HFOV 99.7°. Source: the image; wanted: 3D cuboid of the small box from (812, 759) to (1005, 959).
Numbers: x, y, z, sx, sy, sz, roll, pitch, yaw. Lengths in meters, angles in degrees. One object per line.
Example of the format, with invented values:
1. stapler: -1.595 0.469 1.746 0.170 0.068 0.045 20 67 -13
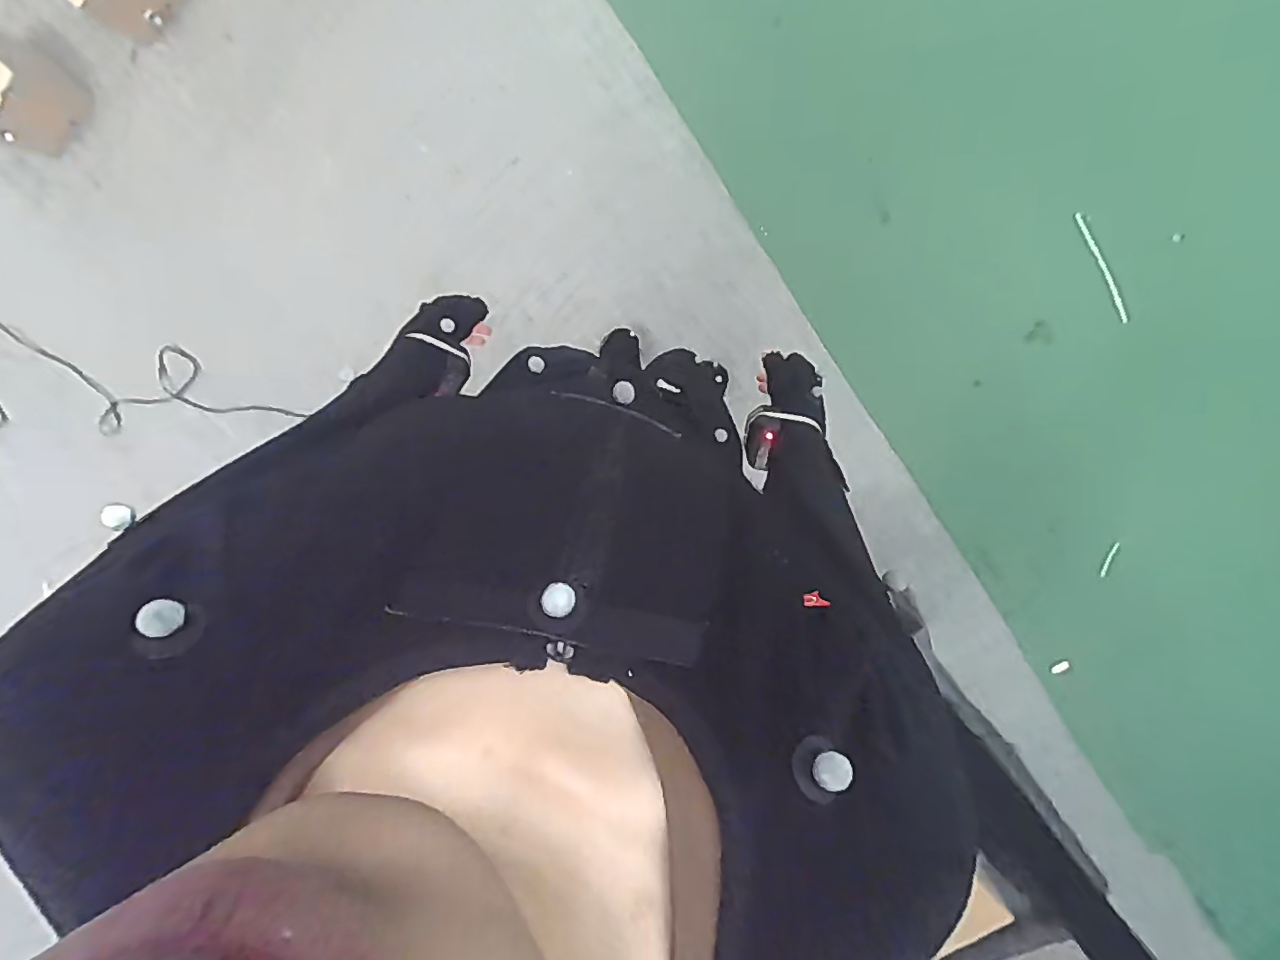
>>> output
1. small box: 0.397 0.575 0.828 0.168 0.176 0.179 -38 104 9

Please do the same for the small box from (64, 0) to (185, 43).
1. small box: -1.089 -1.044 1.086 0.168 0.176 0.179 -39 105 11
